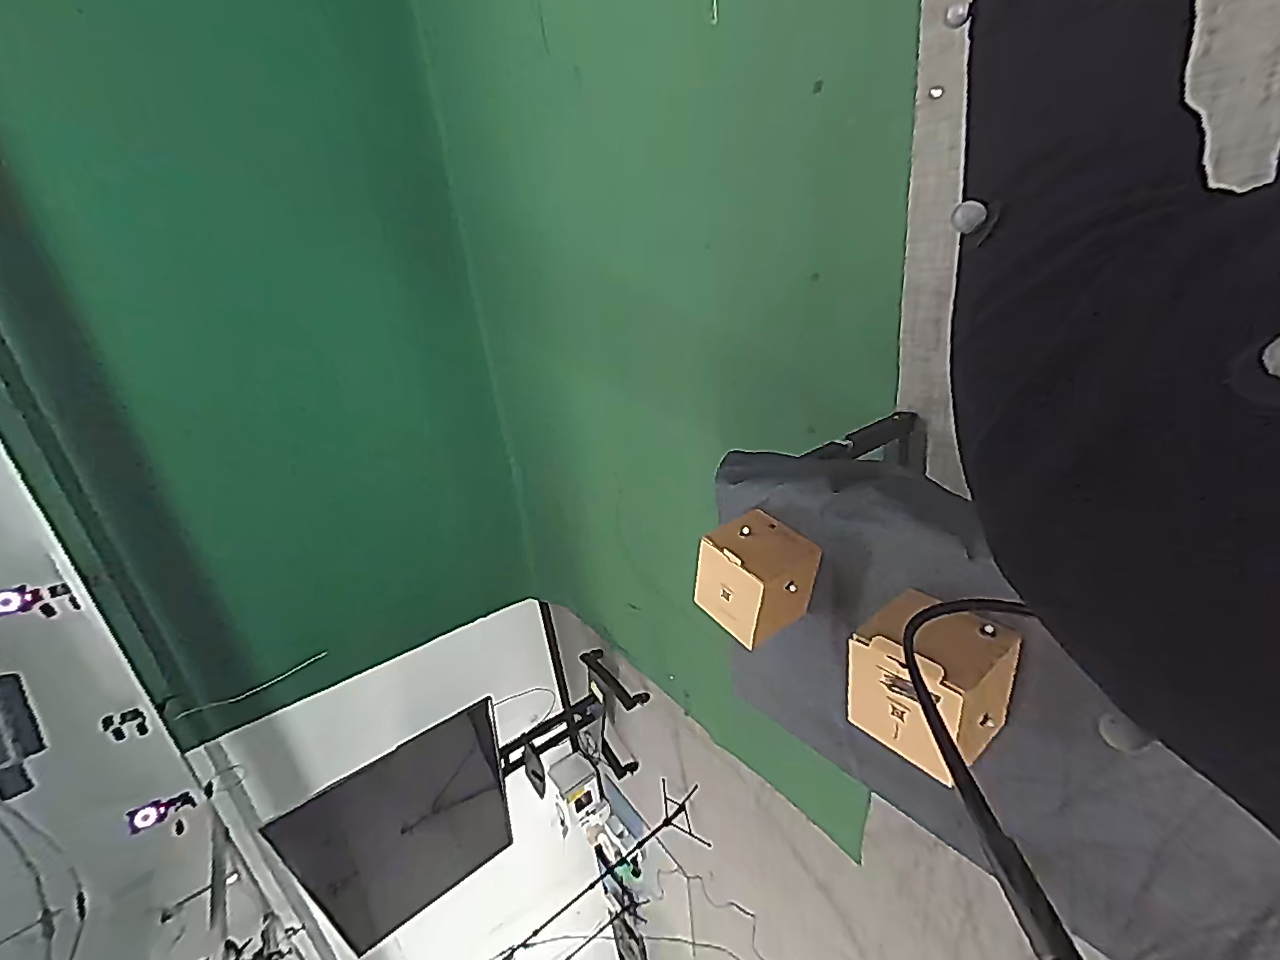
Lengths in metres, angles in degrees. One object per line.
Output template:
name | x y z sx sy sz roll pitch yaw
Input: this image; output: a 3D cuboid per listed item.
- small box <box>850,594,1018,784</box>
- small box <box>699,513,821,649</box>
small box | 0.445 0.302 0.824 0.168 0.176 0.179 23 128 51
small box | 0.238 0.192 1.081 0.168 0.176 0.179 36 137 43
